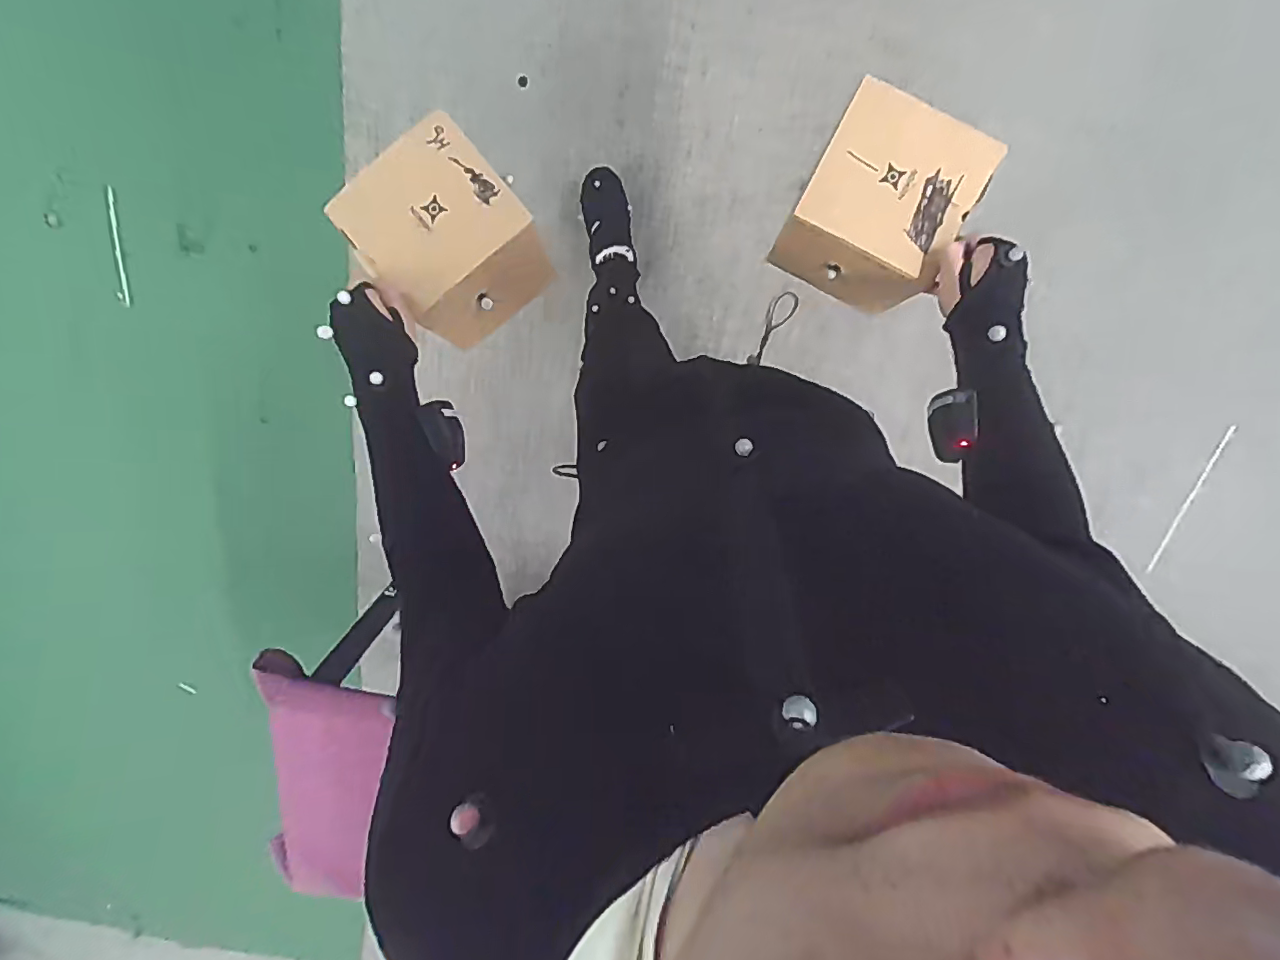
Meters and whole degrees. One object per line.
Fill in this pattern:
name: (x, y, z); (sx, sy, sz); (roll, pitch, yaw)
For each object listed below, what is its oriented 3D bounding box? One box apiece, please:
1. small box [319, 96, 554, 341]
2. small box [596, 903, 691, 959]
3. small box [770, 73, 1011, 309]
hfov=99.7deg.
small box: (-0.228, -0.295, 0.657); (0.179, 0.176, 0.168); (-38, 90, 3)
small box: (0.000, 0.919, 0.978); (0.168, 0.176, 0.179); (9, 111, 0)
small box: (0.283, -0.327, 0.657); (0.179, 0.176, 0.168); (28, 95, 0)
